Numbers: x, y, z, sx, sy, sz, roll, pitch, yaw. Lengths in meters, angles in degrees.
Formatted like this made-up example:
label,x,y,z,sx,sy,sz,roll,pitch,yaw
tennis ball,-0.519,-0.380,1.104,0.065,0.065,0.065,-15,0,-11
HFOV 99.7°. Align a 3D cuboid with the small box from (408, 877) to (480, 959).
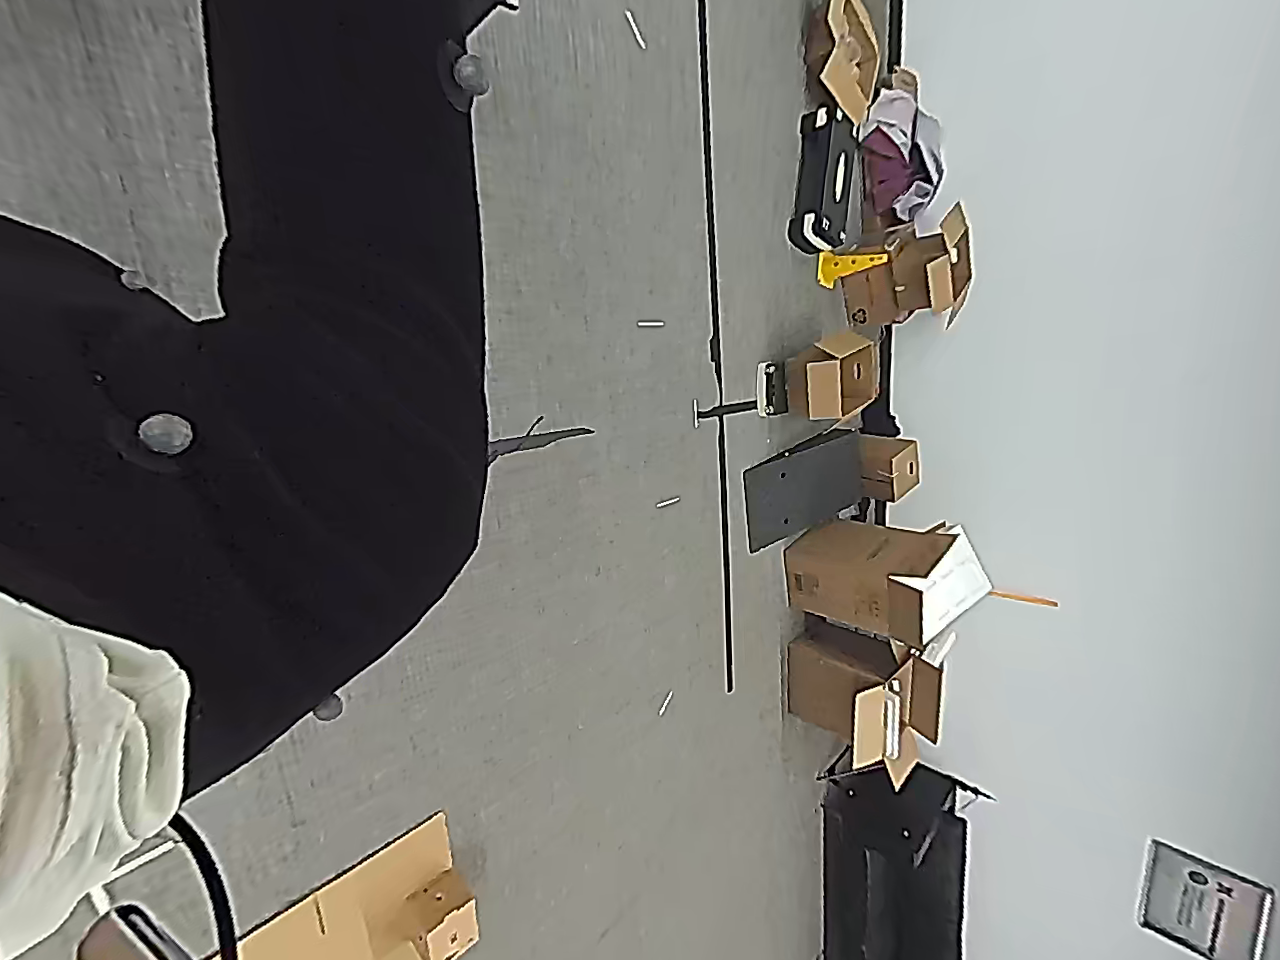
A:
label,x,y,z,sx,sy,sz,roll,pitch,yaw
small box,-0.657,1.477,1.803,0.168,0.176,0.179,-13,105,-43
